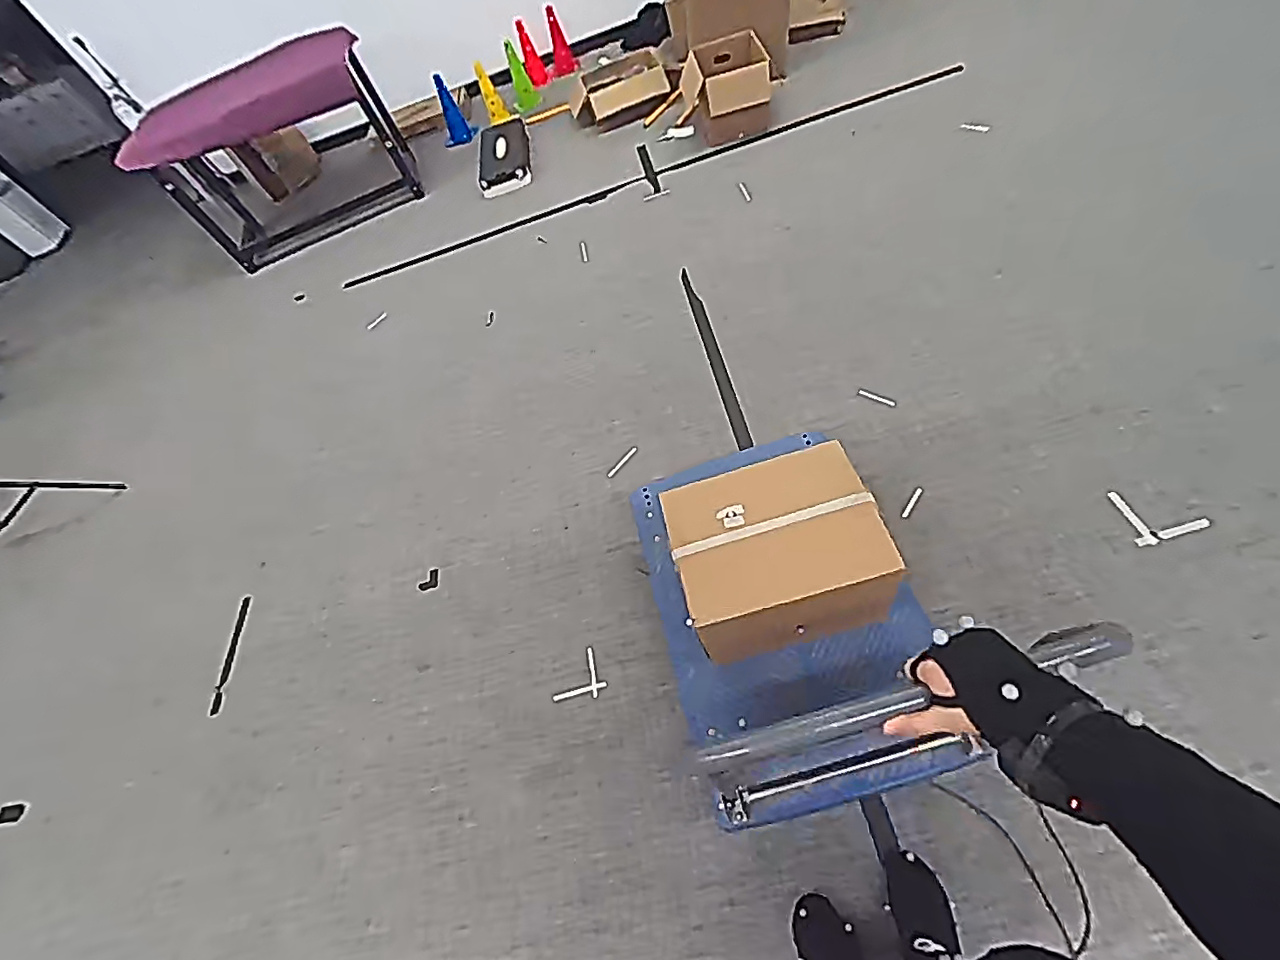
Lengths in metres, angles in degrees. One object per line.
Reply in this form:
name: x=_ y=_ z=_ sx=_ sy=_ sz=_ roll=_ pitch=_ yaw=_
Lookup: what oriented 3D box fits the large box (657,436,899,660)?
large box: x=0.292 y=0.164 z=1.201 sx=0.408 sy=0.320 sz=0.320 roll=-18 pitch=54 yaw=6
